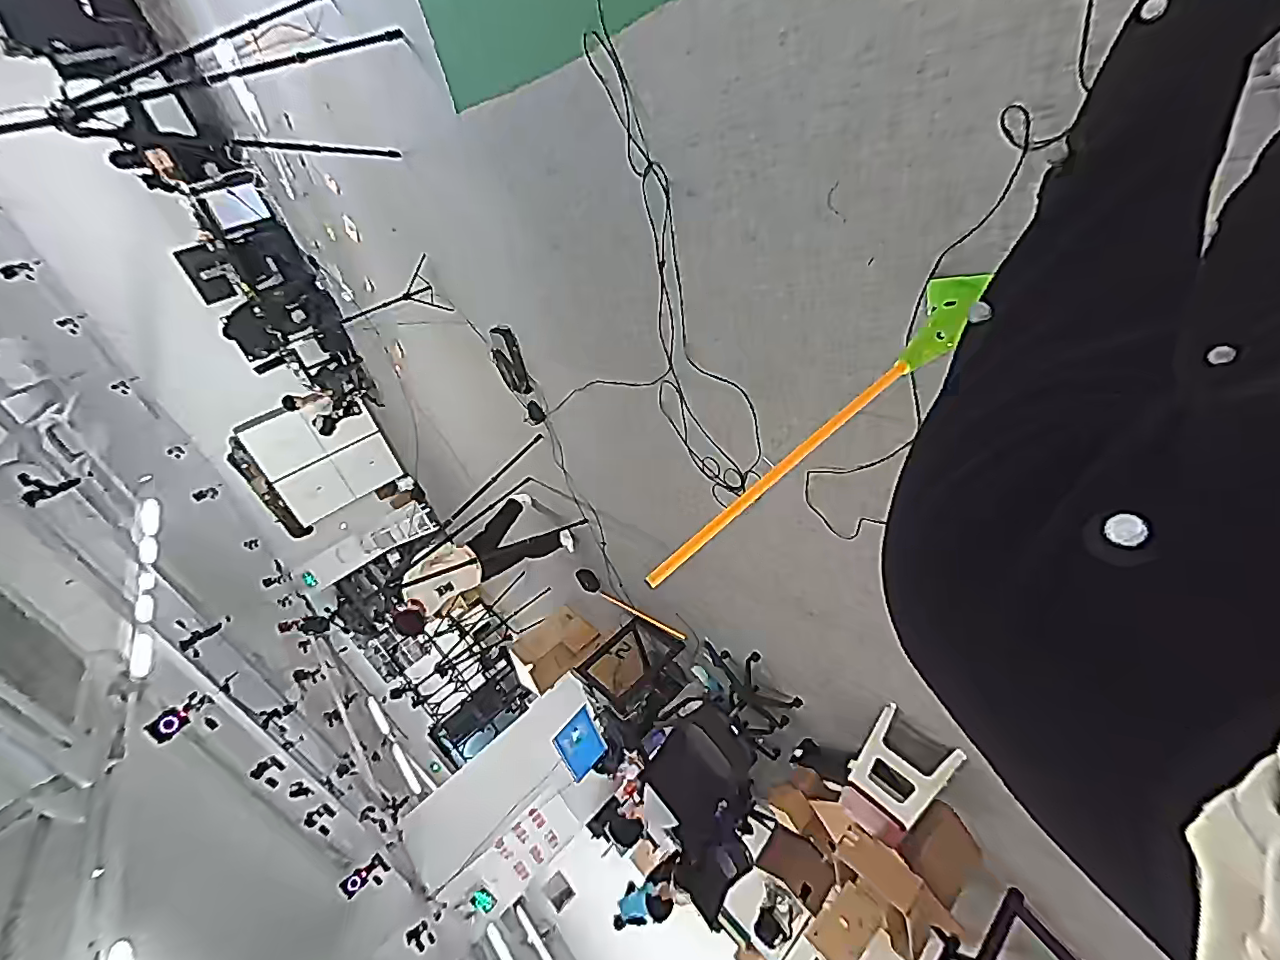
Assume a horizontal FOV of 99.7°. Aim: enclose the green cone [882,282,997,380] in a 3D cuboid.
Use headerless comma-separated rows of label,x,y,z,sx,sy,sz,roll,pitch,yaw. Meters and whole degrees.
green cone,0.757,-0.361,1.427,0.202,0.368,0.200,19,136,50
